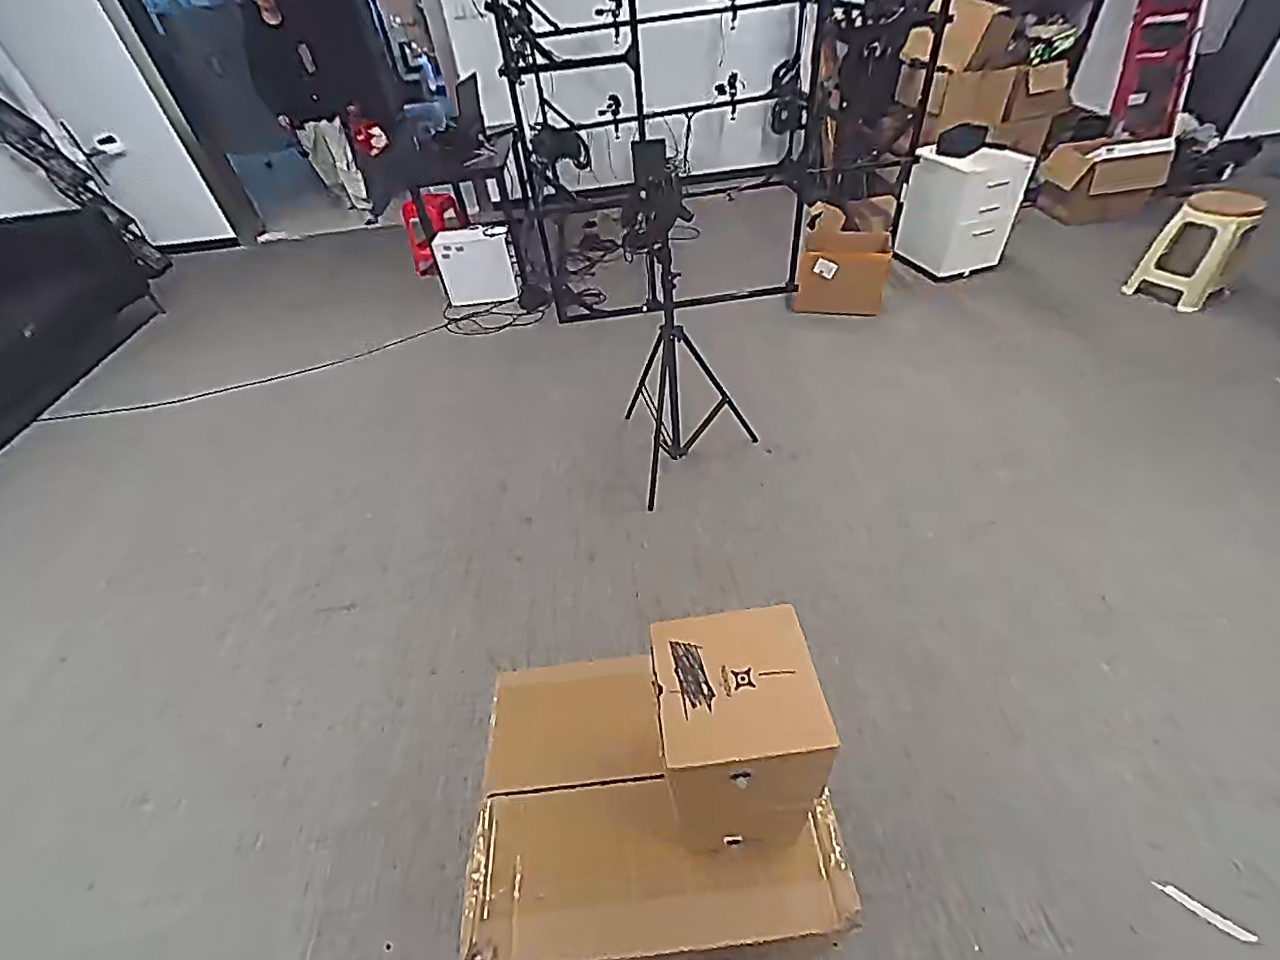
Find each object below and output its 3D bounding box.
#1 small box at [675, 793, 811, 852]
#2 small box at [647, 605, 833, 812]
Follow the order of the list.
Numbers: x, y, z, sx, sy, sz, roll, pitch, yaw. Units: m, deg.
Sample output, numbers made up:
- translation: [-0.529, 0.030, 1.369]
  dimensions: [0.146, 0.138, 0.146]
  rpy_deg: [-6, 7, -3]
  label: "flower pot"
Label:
- translation: [0.126, 0.393, 0.759]
  dimensions: [0.168, 0.176, 0.179]
  rpy_deg: [-9, 45, 1]
  label: "small box"
- translation: [0.111, 0.275, 0.645]
  dimensions: [0.179, 0.176, 0.168]
  rpy_deg: [-8, 44, 1]
  label: "small box"
